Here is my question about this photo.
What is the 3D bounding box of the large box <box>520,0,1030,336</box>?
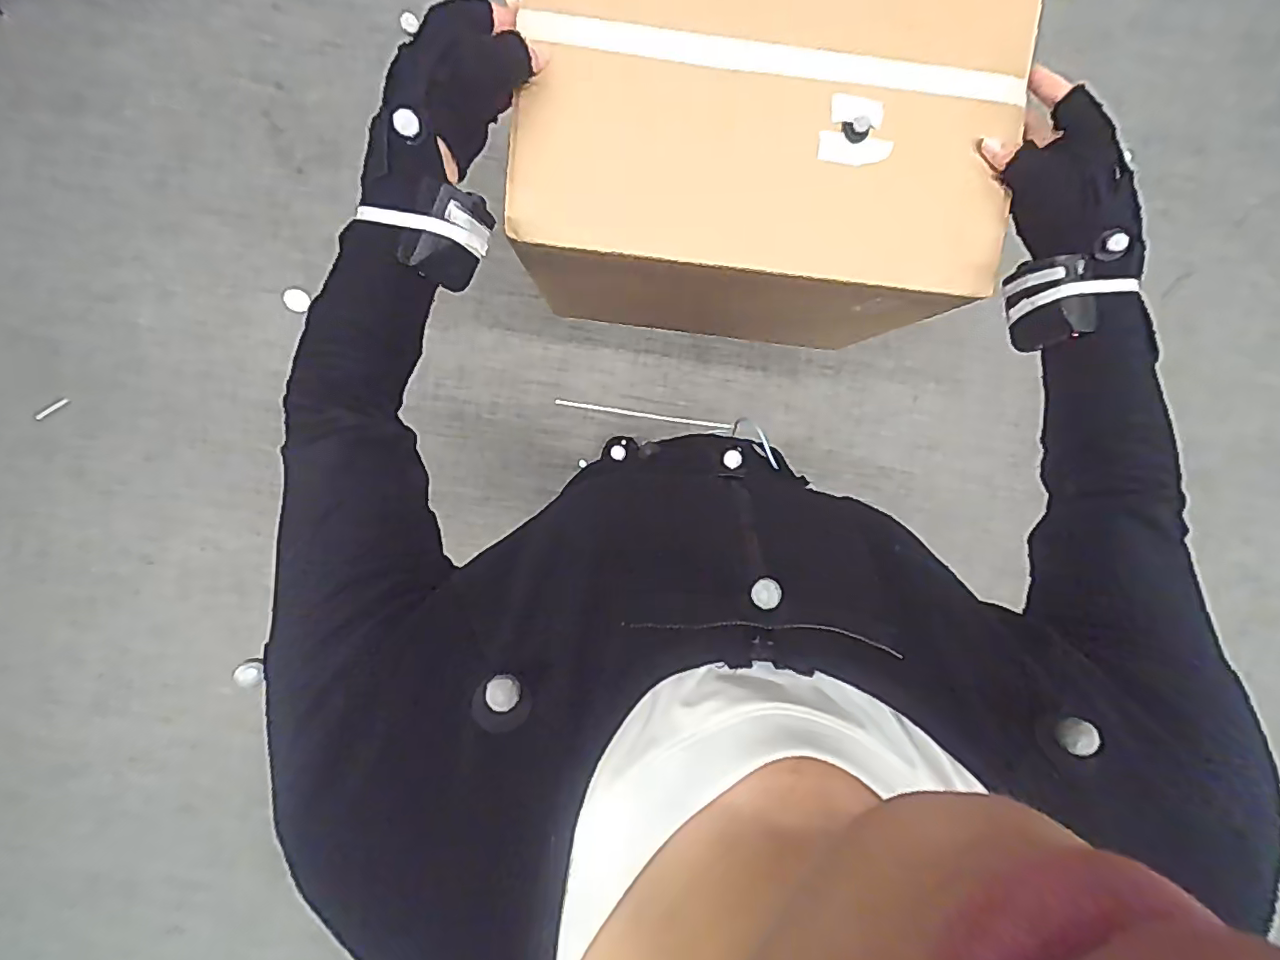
[{"bbox_3d":[0.101,-0.352,0.580,0.408,0.320,0.320,6,96,-4],"label":"large box"}]
